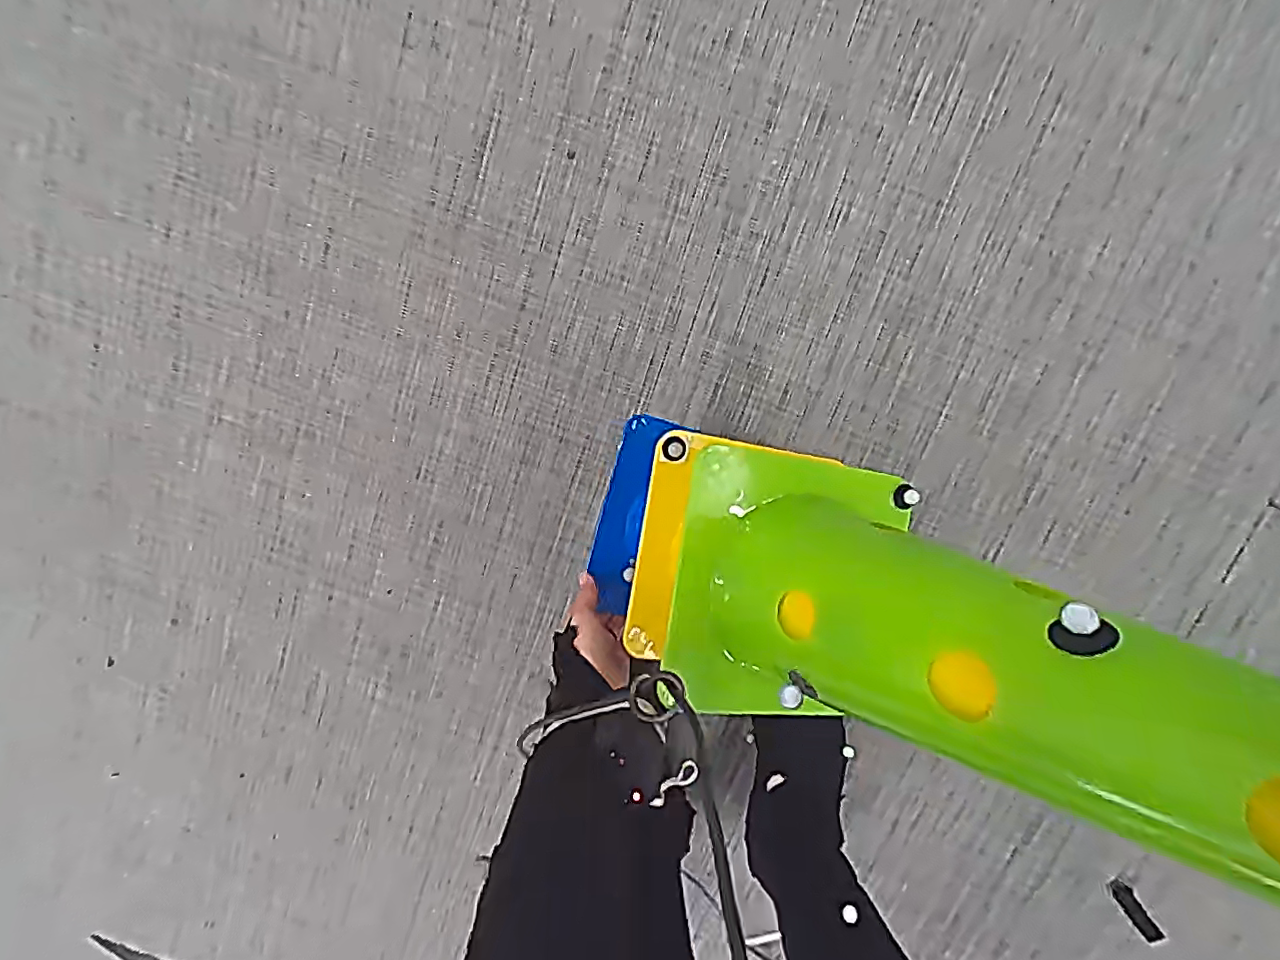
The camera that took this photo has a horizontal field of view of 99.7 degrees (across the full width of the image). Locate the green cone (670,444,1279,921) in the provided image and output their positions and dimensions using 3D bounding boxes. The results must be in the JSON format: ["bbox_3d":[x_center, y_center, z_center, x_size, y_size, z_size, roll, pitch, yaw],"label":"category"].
[{"bbox_3d":[0.177,0.092,0.249,0.200,0.368,0.202,8,91,-18],"label":"green cone"}]
